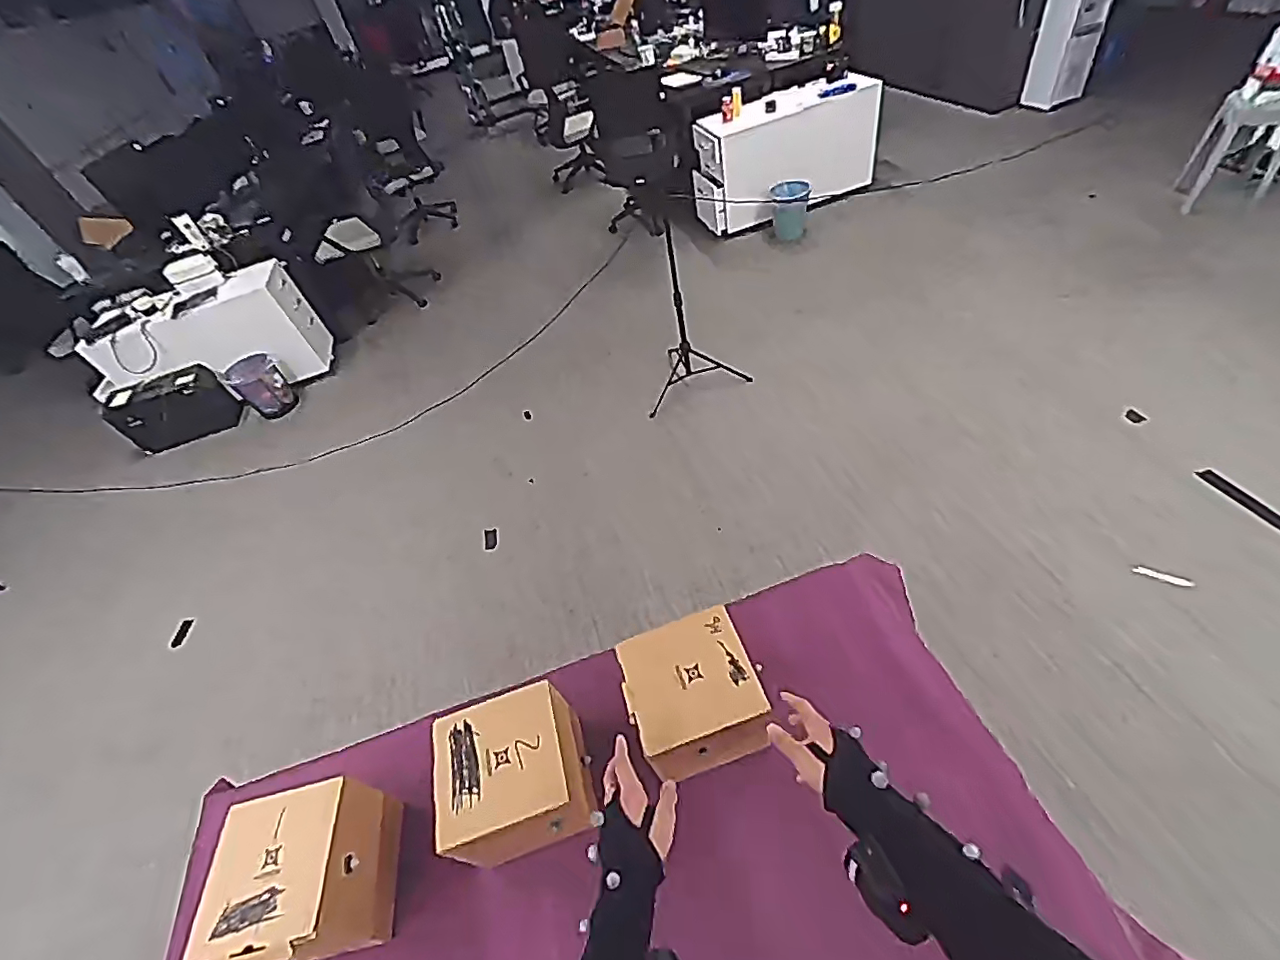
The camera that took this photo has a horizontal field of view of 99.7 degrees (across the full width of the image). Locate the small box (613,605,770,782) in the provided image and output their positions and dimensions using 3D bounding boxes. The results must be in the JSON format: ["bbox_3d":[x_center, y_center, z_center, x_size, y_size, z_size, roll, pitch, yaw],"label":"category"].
[{"bbox_3d":[0.079,0.319,0.797,0.179,0.176,0.168,-20,49,-2],"label":"small box"}]

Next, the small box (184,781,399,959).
[{"bbox_3d":[-0.452,0.543,0.738,0.168,0.176,0.179,-15,47,0],"label":"small box"}]
